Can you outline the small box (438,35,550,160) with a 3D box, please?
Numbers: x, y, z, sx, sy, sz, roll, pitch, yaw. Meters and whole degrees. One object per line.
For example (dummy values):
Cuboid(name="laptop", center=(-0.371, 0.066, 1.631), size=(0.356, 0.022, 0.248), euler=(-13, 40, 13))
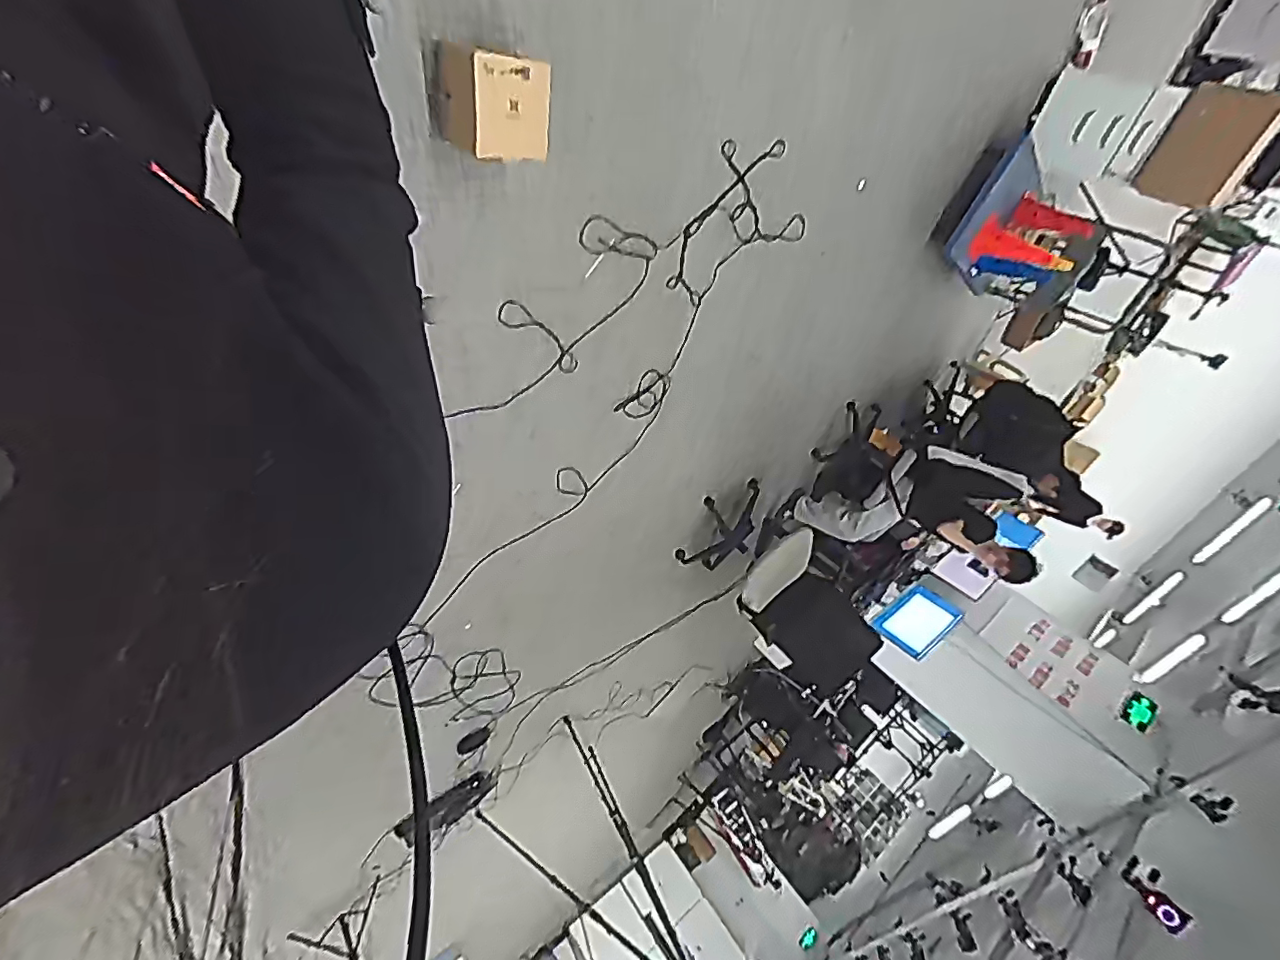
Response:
Cuboid(name="small box", center=(-0.307, -0.793, 1.128), size=(0.168, 0.176, 0.179), euler=(-20, 139, -35))
